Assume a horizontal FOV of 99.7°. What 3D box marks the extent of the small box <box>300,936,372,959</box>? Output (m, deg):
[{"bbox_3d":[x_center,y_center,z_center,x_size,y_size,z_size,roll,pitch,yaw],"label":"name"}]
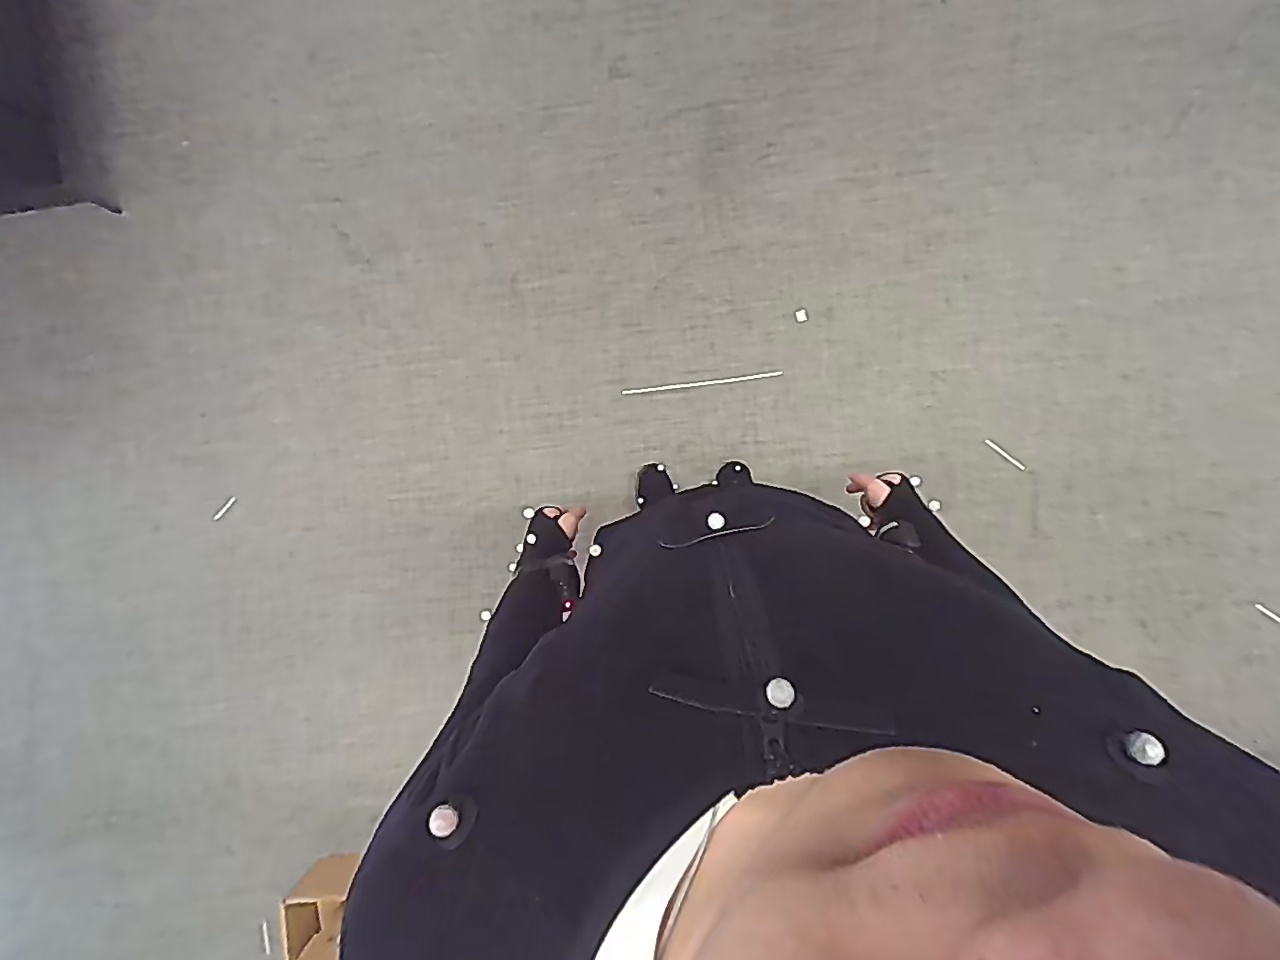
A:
[{"bbox_3d":[-0.824,1.360,1.424,0.168,0.176,0.179,-6,91,2],"label":"small box"}]
